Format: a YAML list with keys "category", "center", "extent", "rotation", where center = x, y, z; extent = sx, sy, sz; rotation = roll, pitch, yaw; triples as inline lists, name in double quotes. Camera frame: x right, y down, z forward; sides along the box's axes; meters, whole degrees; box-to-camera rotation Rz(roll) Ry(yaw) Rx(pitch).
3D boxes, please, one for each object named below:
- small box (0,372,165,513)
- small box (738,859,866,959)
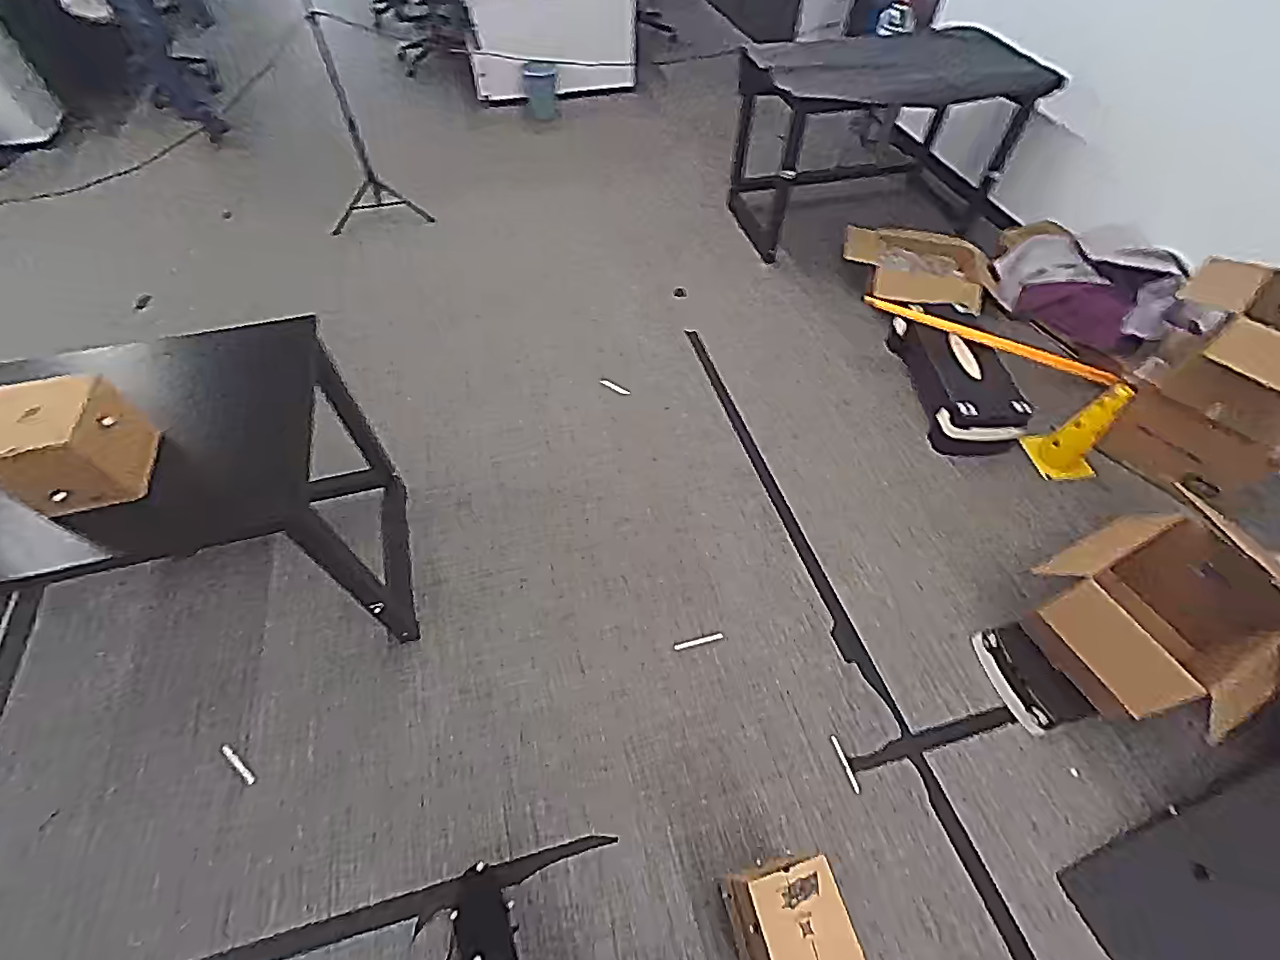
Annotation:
- category: "small box"
  center: [-1.021, -0.067, 0.983]
  extent: [0.168, 0.176, 0.179]
  rotation: [-13, 56, -10]
- category: "small box"
  center: [0.303, 0.859, 1.042]
  extent: [0.168, 0.176, 0.179]
  rotation: [-12, 57, -10]
